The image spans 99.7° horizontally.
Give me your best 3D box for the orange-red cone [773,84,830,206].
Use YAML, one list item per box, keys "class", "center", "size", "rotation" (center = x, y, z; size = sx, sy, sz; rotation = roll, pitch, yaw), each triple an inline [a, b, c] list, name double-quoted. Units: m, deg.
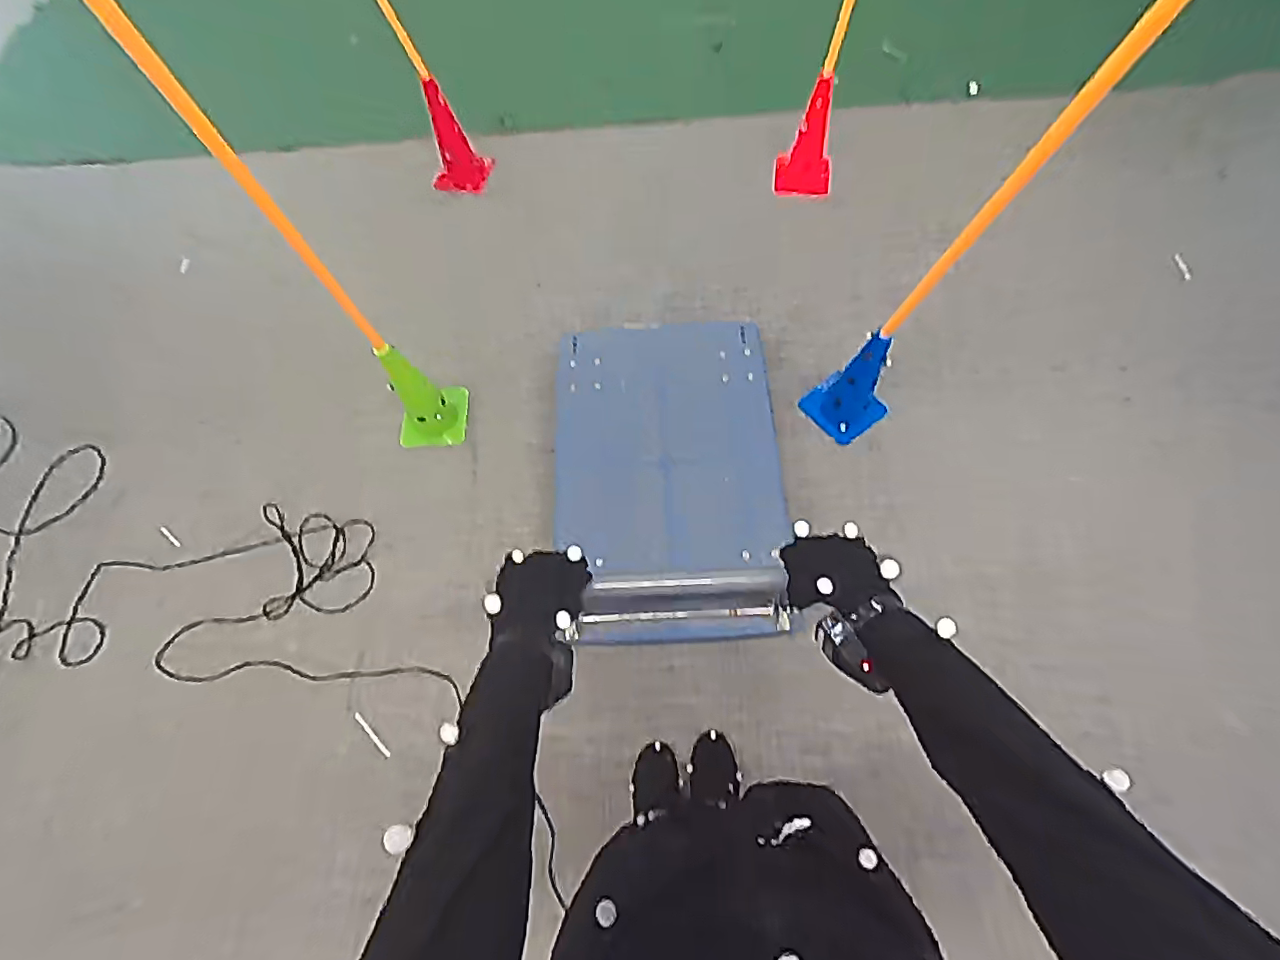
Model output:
- class: "orange-red cone"
  center: [0.592, -1.164, 1.862]
  size: [0.198, 0.360, 0.199]
  rotation: [8, 68, 7]
